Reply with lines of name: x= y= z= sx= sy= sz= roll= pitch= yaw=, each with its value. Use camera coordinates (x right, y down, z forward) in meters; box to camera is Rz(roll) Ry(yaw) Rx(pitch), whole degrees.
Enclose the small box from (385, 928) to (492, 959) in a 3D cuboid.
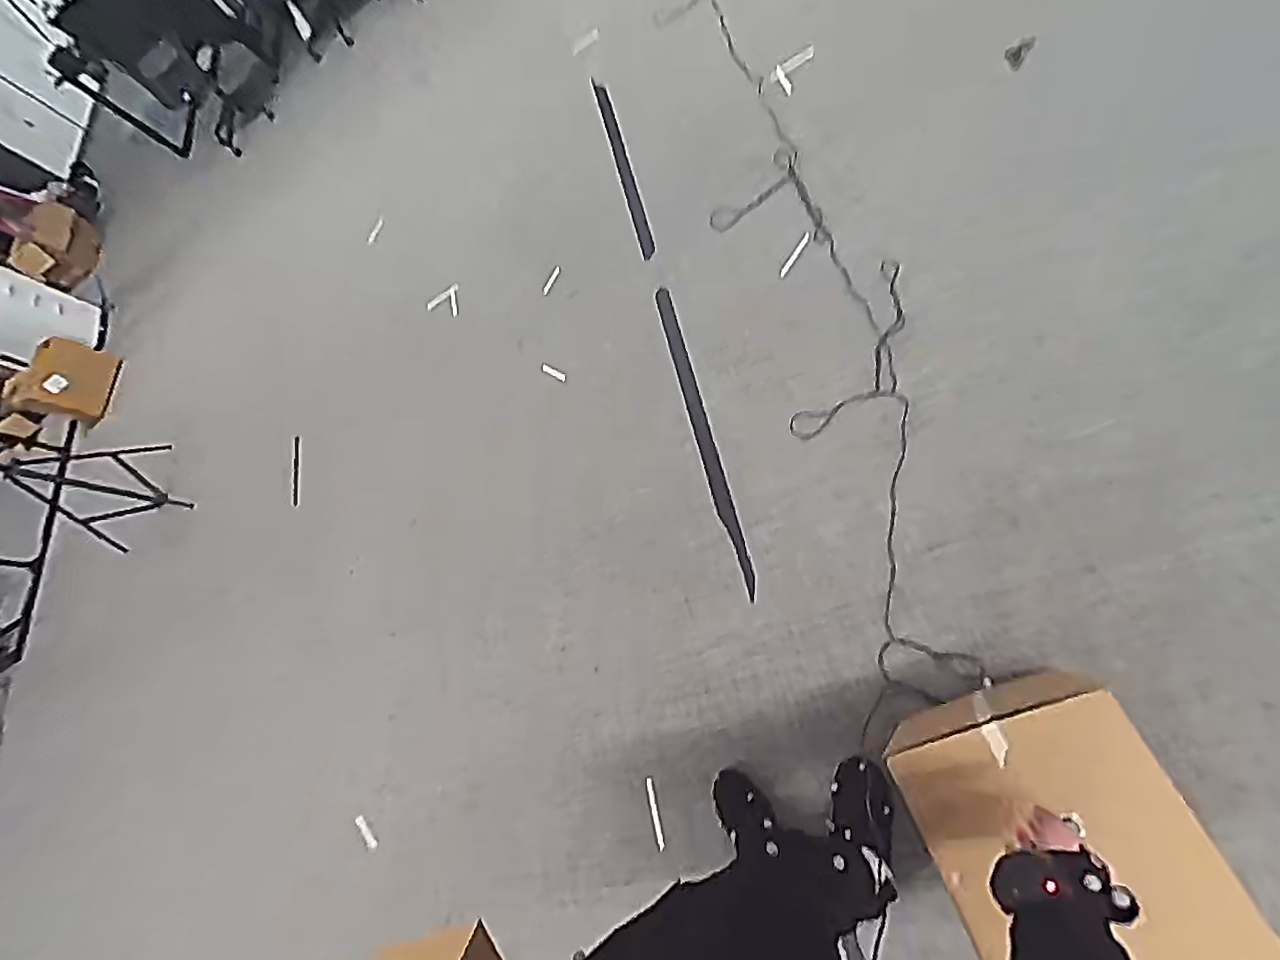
small box: x=-0.252 y=0.703 z=0.644 sx=0.168 sy=0.179 sz=0.176 roll=-25 pitch=93 yaw=12
